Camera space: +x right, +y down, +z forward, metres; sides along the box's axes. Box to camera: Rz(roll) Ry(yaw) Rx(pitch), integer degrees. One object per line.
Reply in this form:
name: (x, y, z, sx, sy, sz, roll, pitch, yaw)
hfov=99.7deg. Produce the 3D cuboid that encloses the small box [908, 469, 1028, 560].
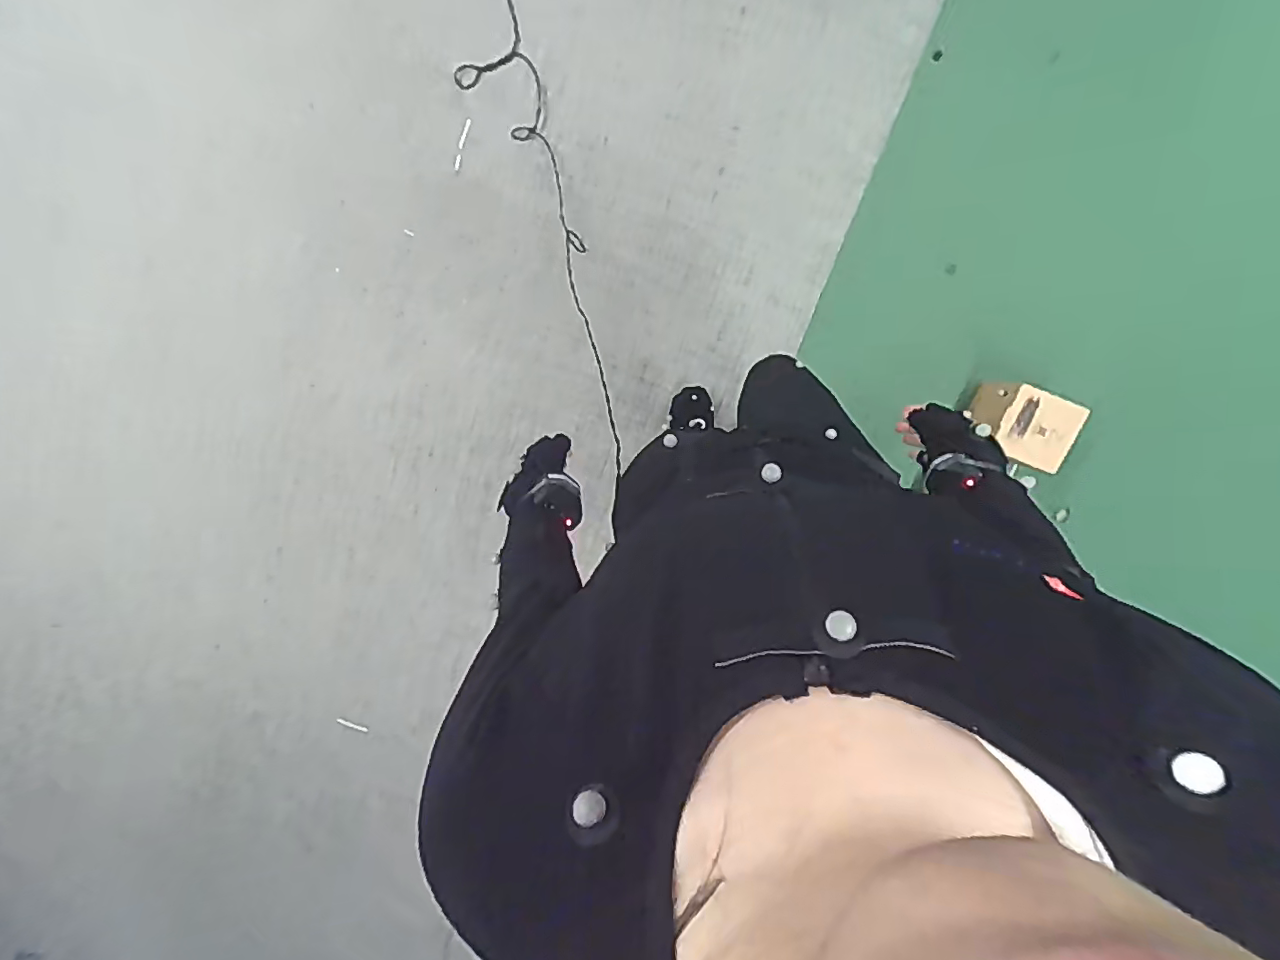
small box: (0.838, 0.081, 1.400, 0.179, 0.176, 0.168, 20, 103, 0)
